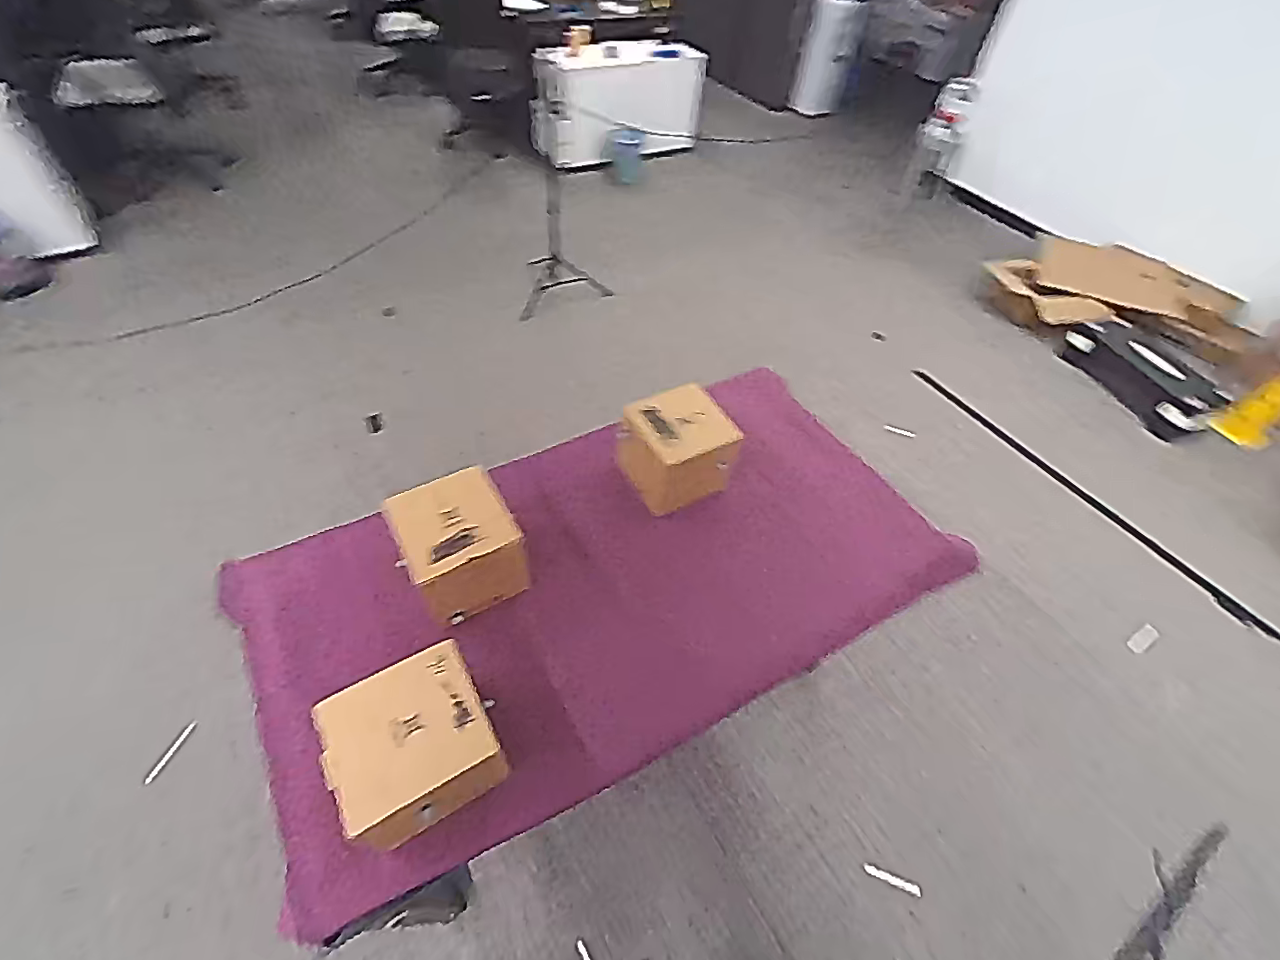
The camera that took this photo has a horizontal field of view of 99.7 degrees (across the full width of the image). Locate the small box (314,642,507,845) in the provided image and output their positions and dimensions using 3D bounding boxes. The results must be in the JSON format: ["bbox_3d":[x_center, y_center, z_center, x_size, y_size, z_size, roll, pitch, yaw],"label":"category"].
[{"bbox_3d":[-0.297,0.356,0.725,0.179,0.176,0.168,-24,58,-22],"label":"small box"}]

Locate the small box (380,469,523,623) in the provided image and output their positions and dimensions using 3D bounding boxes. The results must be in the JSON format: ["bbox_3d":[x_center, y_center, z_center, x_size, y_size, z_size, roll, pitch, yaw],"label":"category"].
[{"bbox_3d":[-0.311,0.119,0.917,0.168,0.176,0.179,-24,58,-24],"label":"small box"}]
